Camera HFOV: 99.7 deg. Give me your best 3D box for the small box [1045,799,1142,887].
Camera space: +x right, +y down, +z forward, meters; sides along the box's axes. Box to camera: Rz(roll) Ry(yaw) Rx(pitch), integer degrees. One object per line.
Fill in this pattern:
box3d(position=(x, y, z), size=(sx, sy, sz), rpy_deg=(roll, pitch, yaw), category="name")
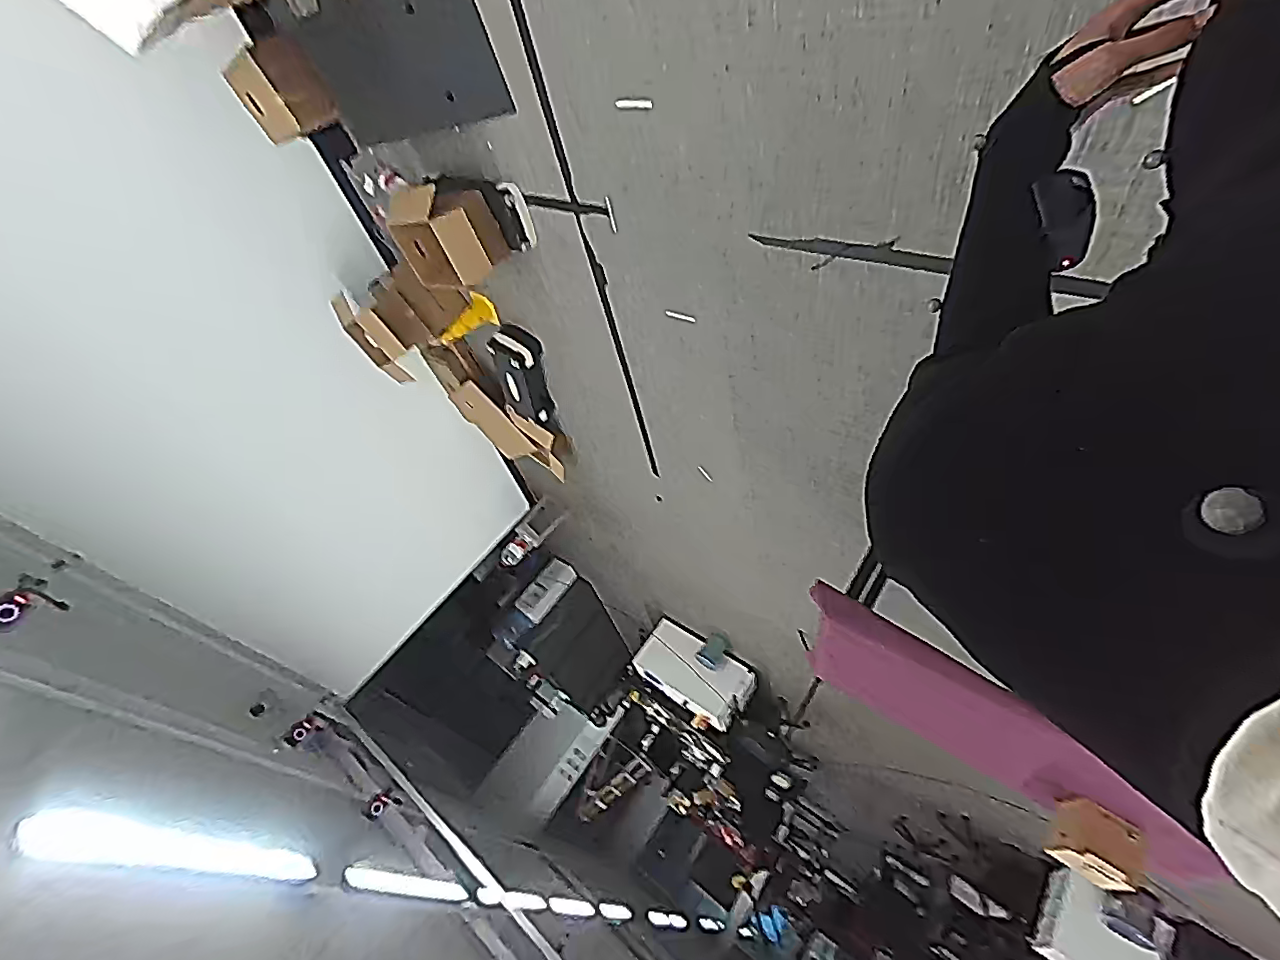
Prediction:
box3d(position=(1.411, 1.123, 1.681), size=(0.168, 0.176, 0.179), rpy_deg=(29, 153, 25), category="small box")
